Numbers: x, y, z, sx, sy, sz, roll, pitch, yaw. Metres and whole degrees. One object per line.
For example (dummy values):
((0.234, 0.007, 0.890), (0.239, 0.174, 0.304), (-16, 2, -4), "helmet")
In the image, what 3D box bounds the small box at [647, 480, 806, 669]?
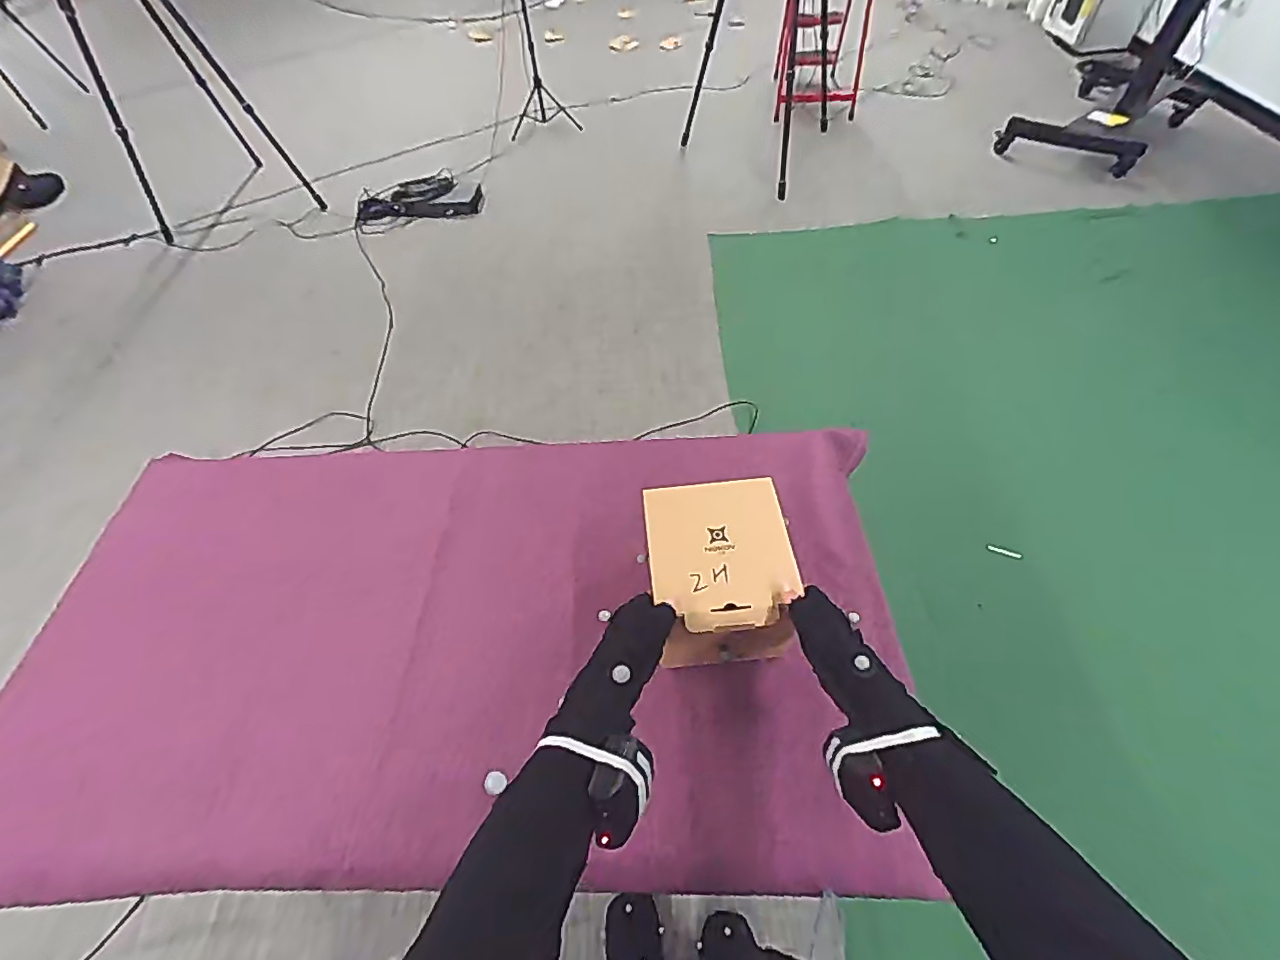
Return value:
((0.098, 0.124, 0.695), (0.168, 0.176, 0.179), (-6, 52, 1), "small box")
